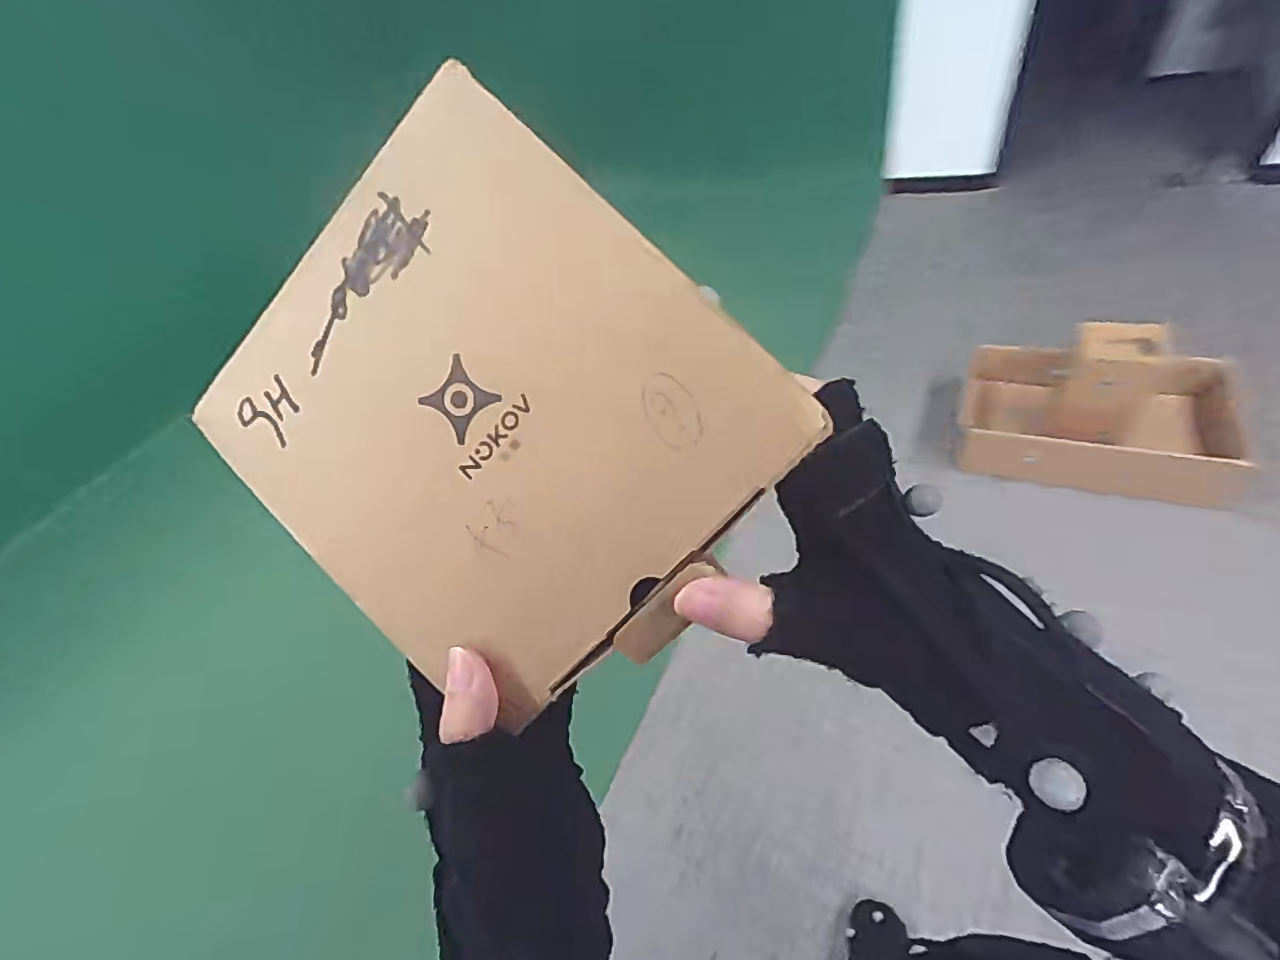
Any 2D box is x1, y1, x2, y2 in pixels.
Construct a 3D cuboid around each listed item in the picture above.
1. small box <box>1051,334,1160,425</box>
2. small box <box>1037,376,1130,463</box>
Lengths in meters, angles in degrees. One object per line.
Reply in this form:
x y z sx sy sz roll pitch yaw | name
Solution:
1.234 -0.265 1.444 0.179 0.176 0.168 12 53 26 | small box
1.267 -0.173 1.555 0.168 0.176 0.179 11 52 25 | small box
